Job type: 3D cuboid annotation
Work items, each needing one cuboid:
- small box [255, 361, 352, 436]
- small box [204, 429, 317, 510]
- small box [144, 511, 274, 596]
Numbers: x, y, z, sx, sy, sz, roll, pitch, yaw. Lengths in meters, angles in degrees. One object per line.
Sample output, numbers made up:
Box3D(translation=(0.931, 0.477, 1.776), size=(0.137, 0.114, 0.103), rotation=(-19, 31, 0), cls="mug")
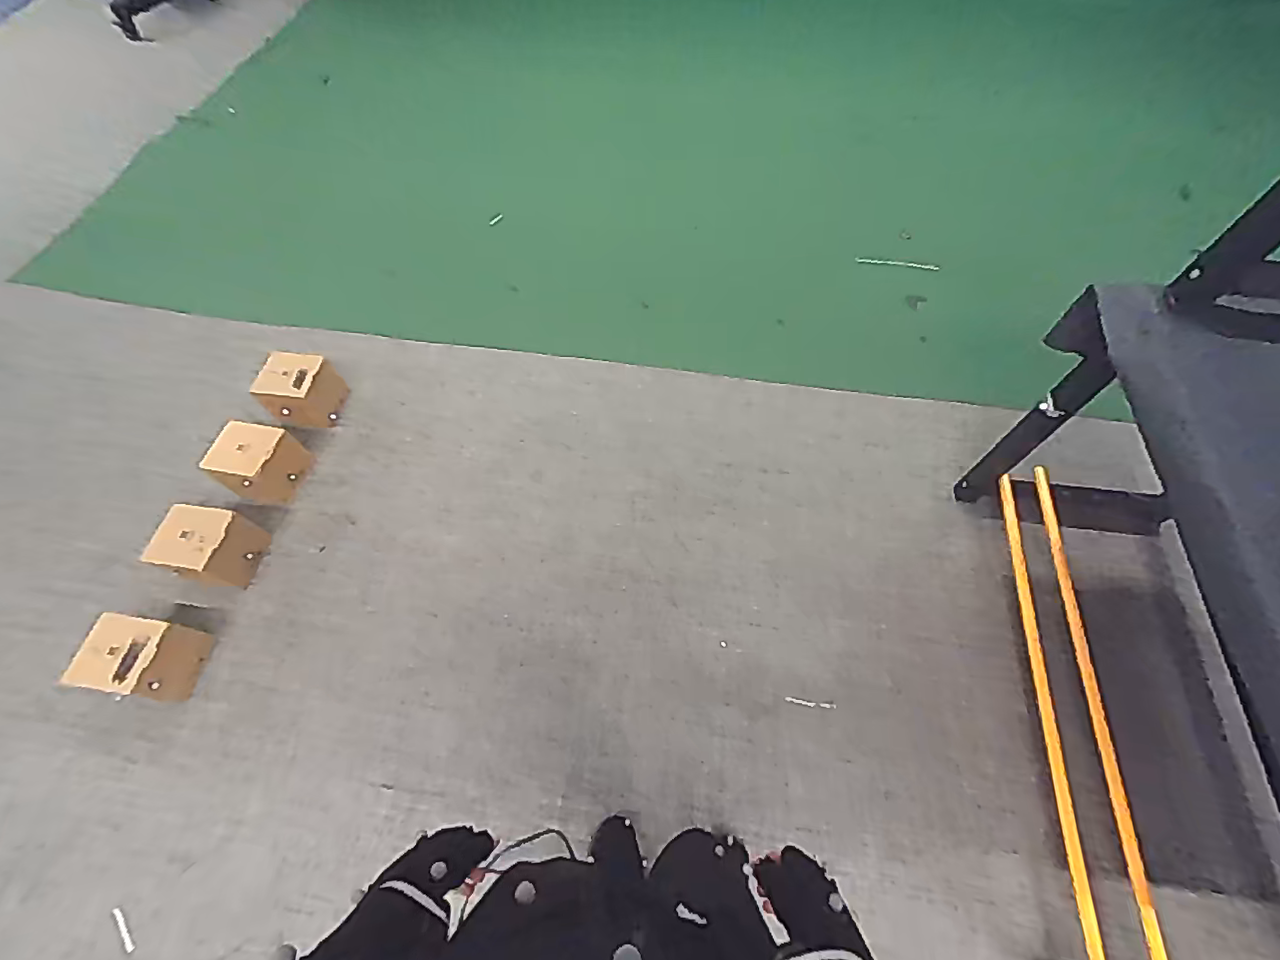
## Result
Box3D(translation=(-1.058, -0.255, 1.720), size=(0.179, 0.176, 0.168), rotation=(6, 60, 5), cls="small box")
Box3D(translation=(-1.102, -0.026, 1.587), size=(0.179, 0.176, 0.168), rotation=(9, 60, 5), cls="small box")
Box3D(translation=(-1.144, 0.201, 1.451), size=(0.179, 0.176, 0.168), rotation=(8, 61, 5), cls="small box")
